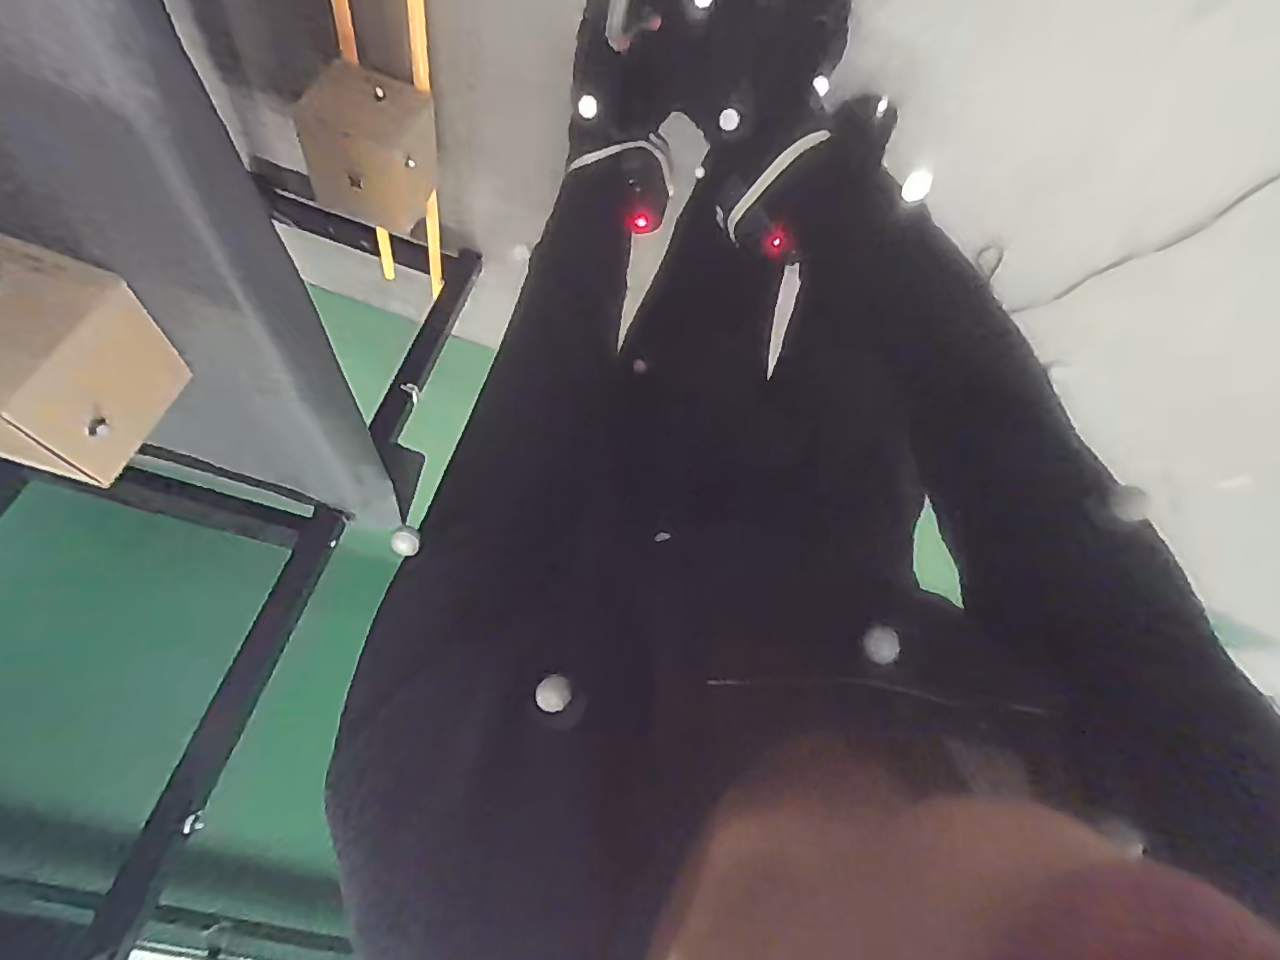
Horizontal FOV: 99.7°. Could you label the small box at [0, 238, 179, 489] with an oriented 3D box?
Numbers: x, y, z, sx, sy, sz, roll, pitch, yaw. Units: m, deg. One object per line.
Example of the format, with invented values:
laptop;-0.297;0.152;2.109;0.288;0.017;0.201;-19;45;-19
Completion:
small box;-0.620;-0.118;0.537;0.168;0.176;0.179;19;153;-11
